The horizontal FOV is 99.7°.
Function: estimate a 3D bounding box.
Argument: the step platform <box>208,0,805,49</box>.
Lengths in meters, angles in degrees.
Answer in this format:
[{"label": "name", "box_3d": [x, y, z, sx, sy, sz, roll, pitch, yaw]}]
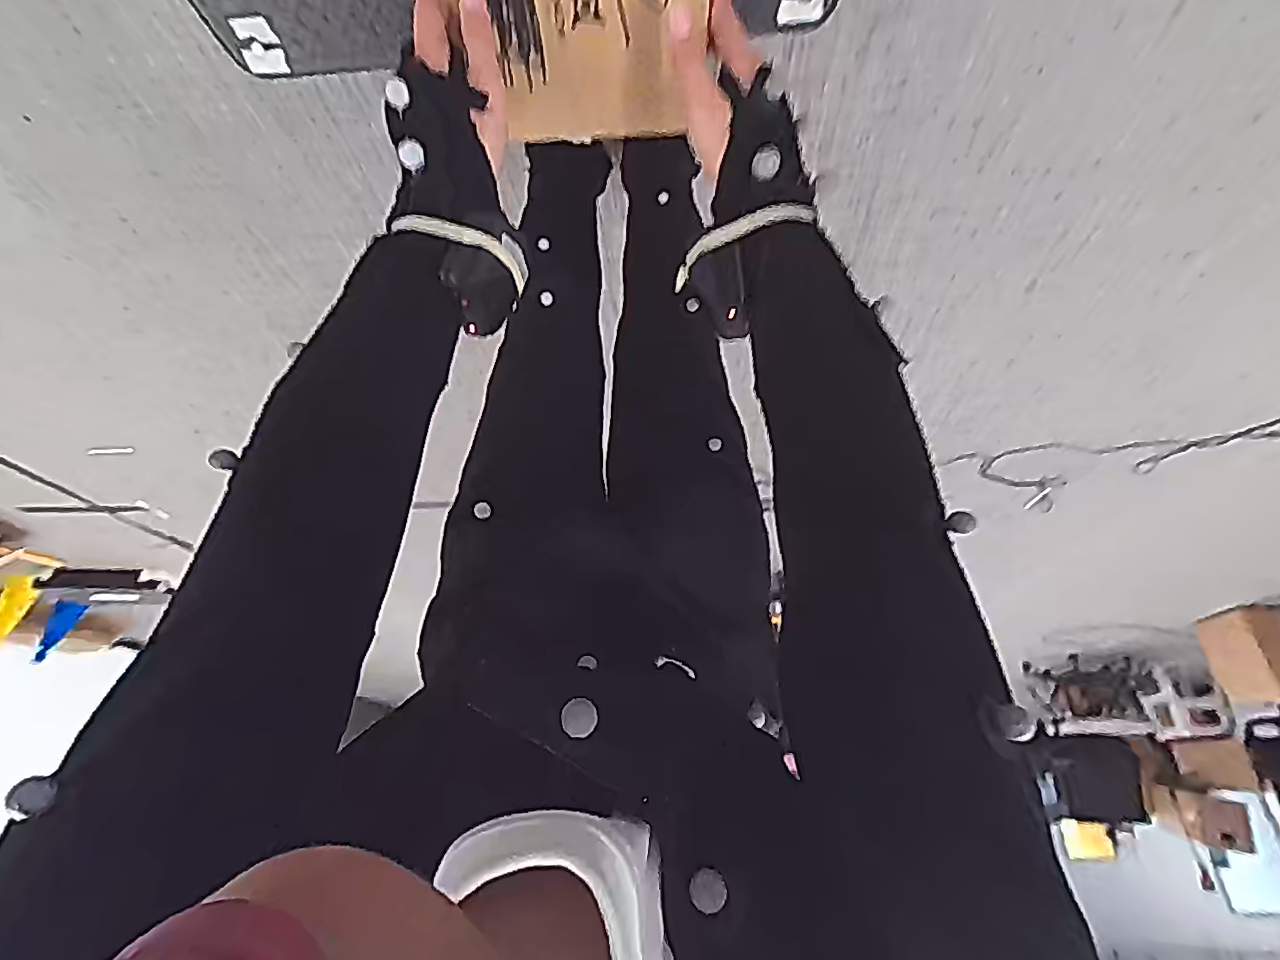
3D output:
[{"label": "step platform", "box_3d": [-0.121, -0.610, 0.487, 0.684, 0.204, 0.286, -1, 149, 5]}]

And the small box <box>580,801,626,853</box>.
[{"label": "small box", "box_3d": [-0.146, 1.393, 2.179, 0.168, 0.176, 0.179, -1, 150, 2]}]
